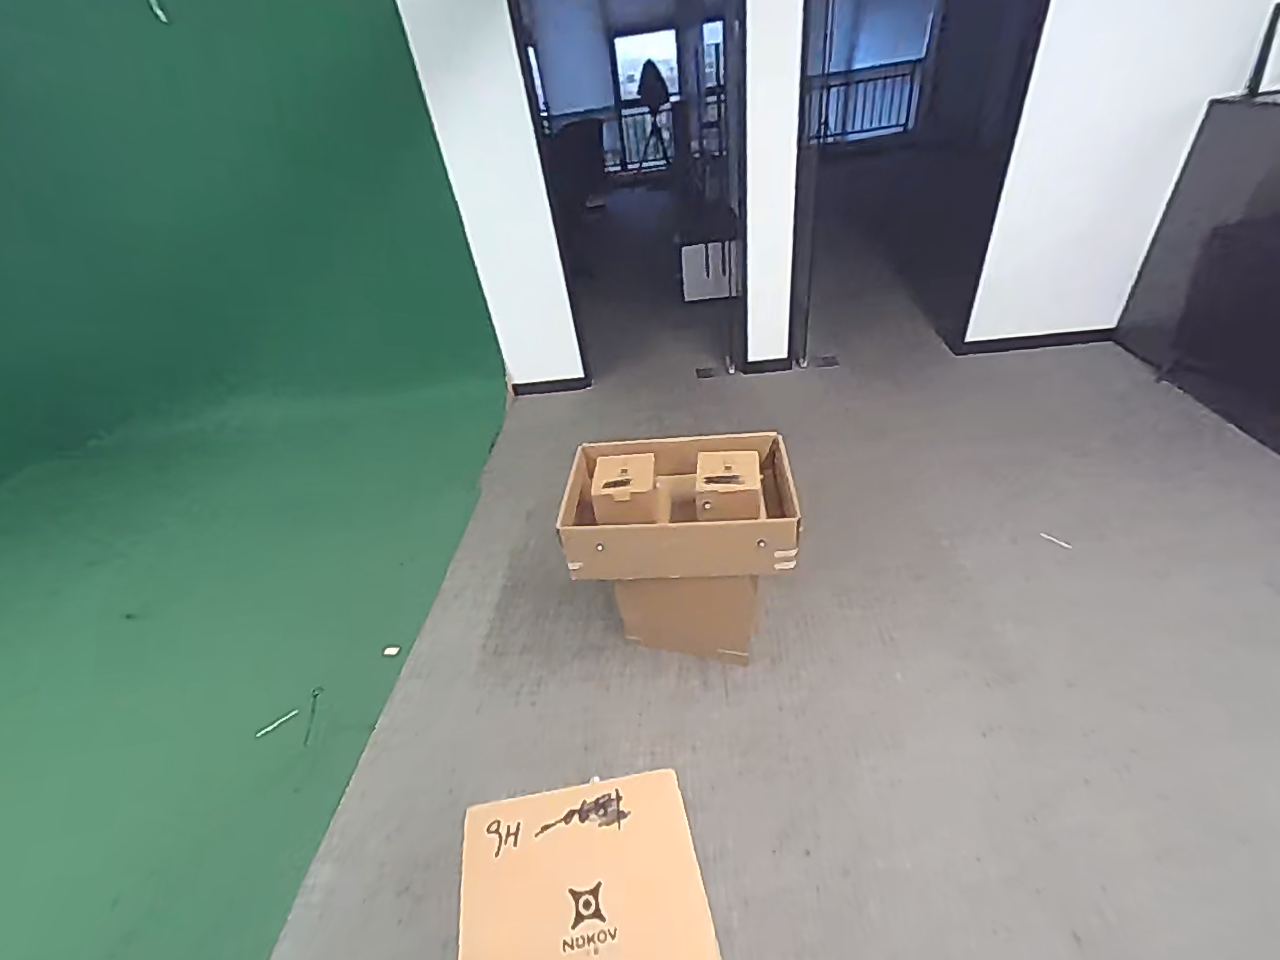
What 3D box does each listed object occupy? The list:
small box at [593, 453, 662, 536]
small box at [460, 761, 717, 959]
[{"bbox_3d":[-0.029,0.047,1.534,0.168,0.176,0.179,-4,37,7],"label":"small box"},{"bbox_3d":[-0.038,0.353,0.414,0.168,0.176,0.179,-5,39,-9],"label":"small box"}]
